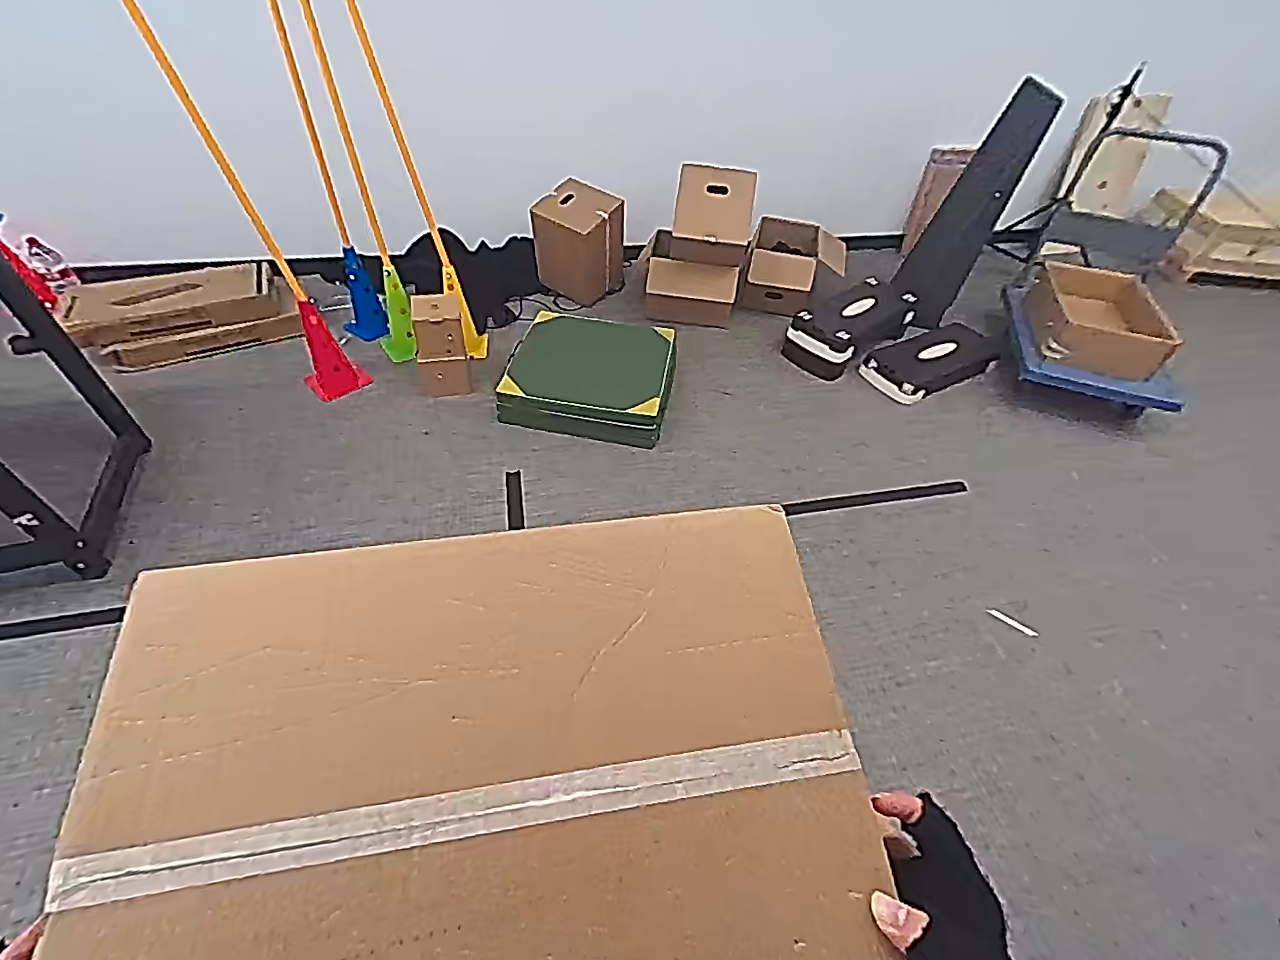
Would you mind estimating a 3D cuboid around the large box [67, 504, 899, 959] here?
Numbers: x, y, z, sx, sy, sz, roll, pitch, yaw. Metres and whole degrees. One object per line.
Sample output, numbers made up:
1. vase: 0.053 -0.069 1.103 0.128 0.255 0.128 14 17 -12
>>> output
1. large box: -0.090 0.243 0.429 0.408 0.320 0.320 -6 63 -7
